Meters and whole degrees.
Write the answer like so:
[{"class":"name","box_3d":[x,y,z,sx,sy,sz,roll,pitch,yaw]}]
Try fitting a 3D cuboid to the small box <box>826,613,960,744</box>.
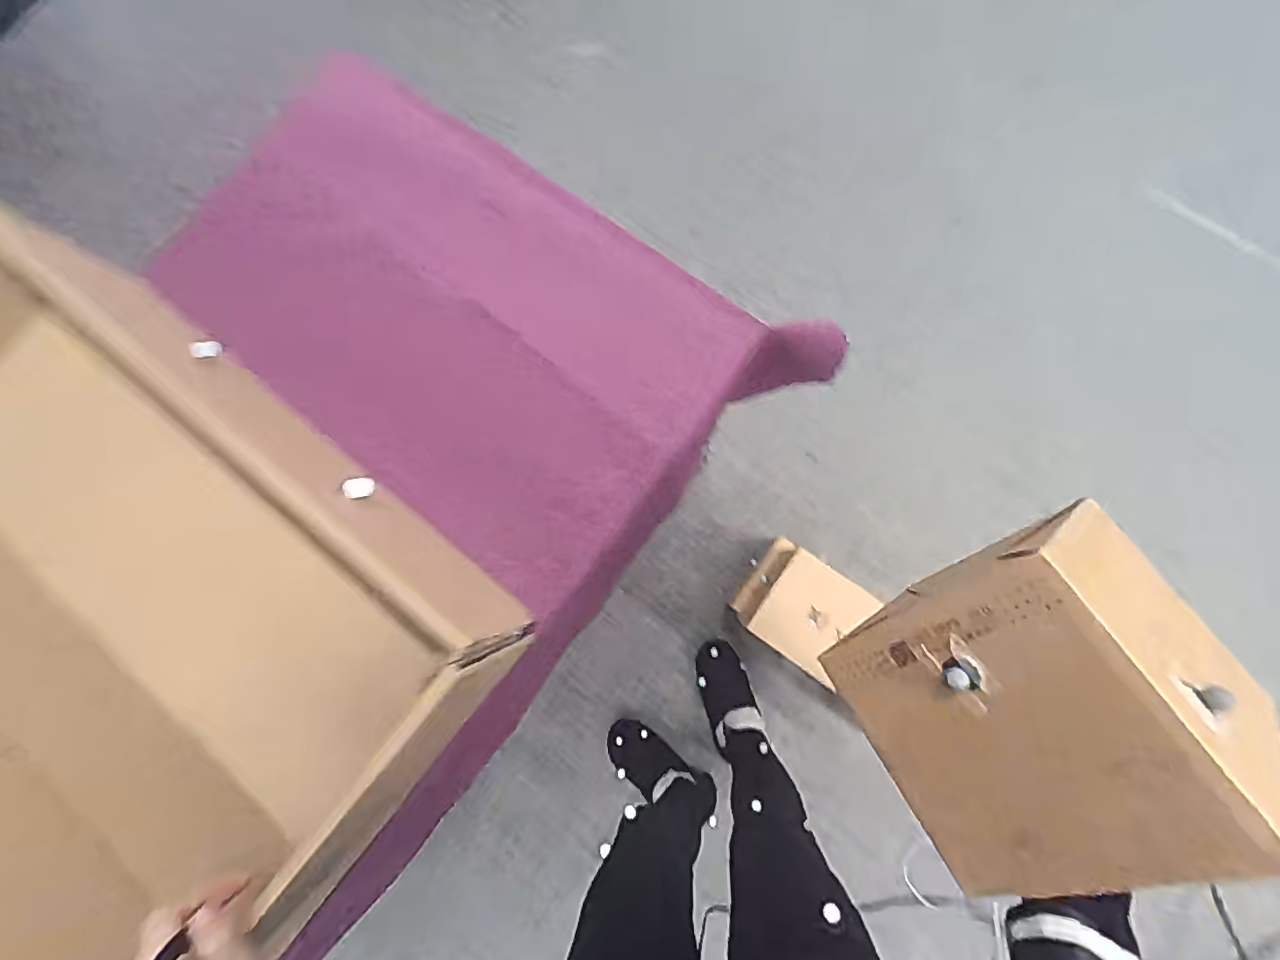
[{"class":"small box","box_3d":[0.501,0.392,1.104,0.168,0.176,0.179,32,85,9]}]
